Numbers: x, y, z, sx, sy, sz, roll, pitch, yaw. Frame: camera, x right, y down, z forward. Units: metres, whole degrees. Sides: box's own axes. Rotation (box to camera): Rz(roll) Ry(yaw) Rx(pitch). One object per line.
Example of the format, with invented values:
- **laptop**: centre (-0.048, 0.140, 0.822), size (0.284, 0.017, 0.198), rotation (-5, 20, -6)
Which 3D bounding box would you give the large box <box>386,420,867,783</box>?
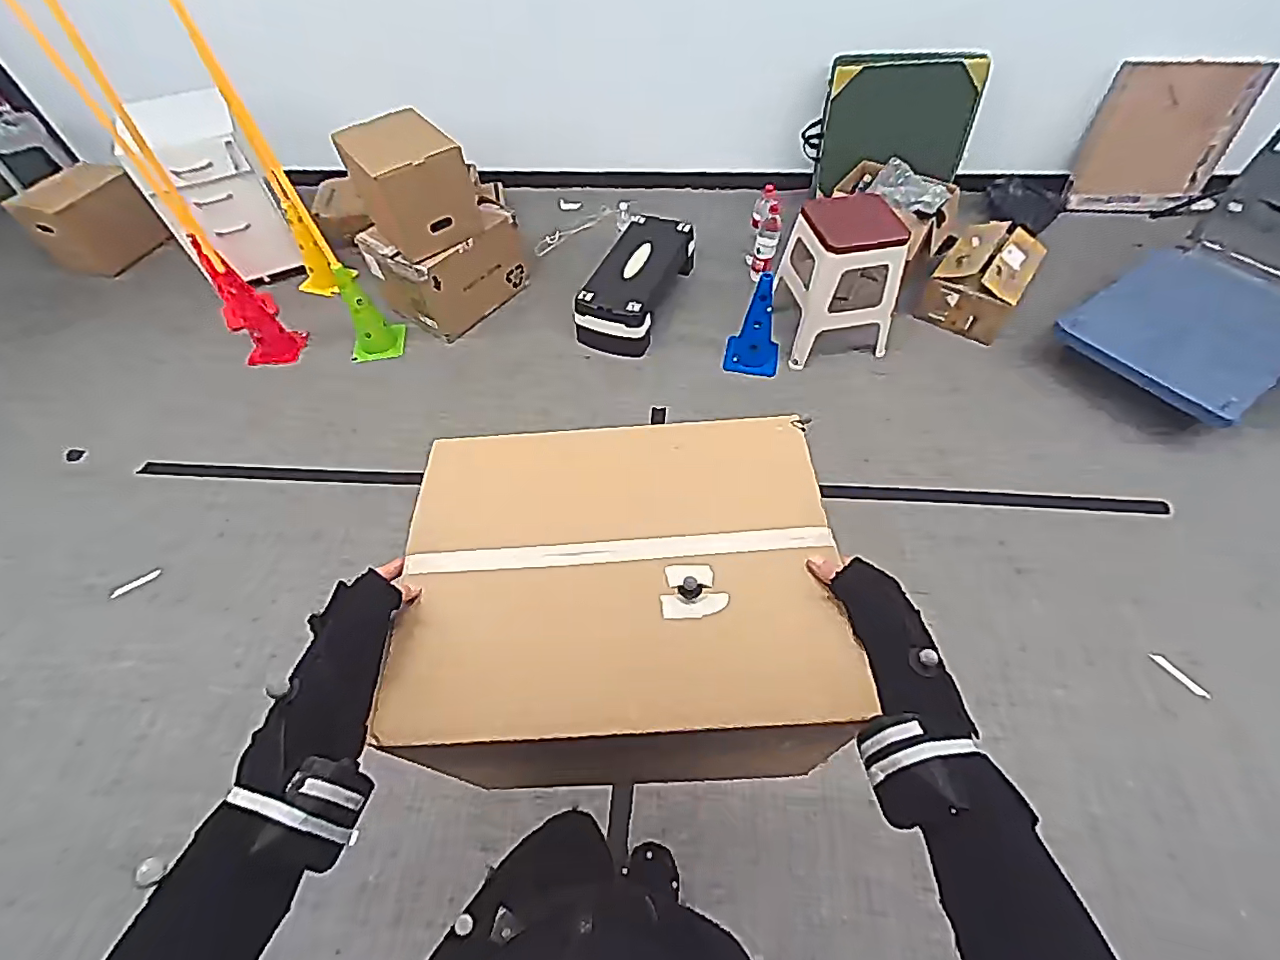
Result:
- **large box**: centre (-0.012, 0.156, 0.644), size (0.408, 0.320, 0.320), rotation (-3, 55, 2)
